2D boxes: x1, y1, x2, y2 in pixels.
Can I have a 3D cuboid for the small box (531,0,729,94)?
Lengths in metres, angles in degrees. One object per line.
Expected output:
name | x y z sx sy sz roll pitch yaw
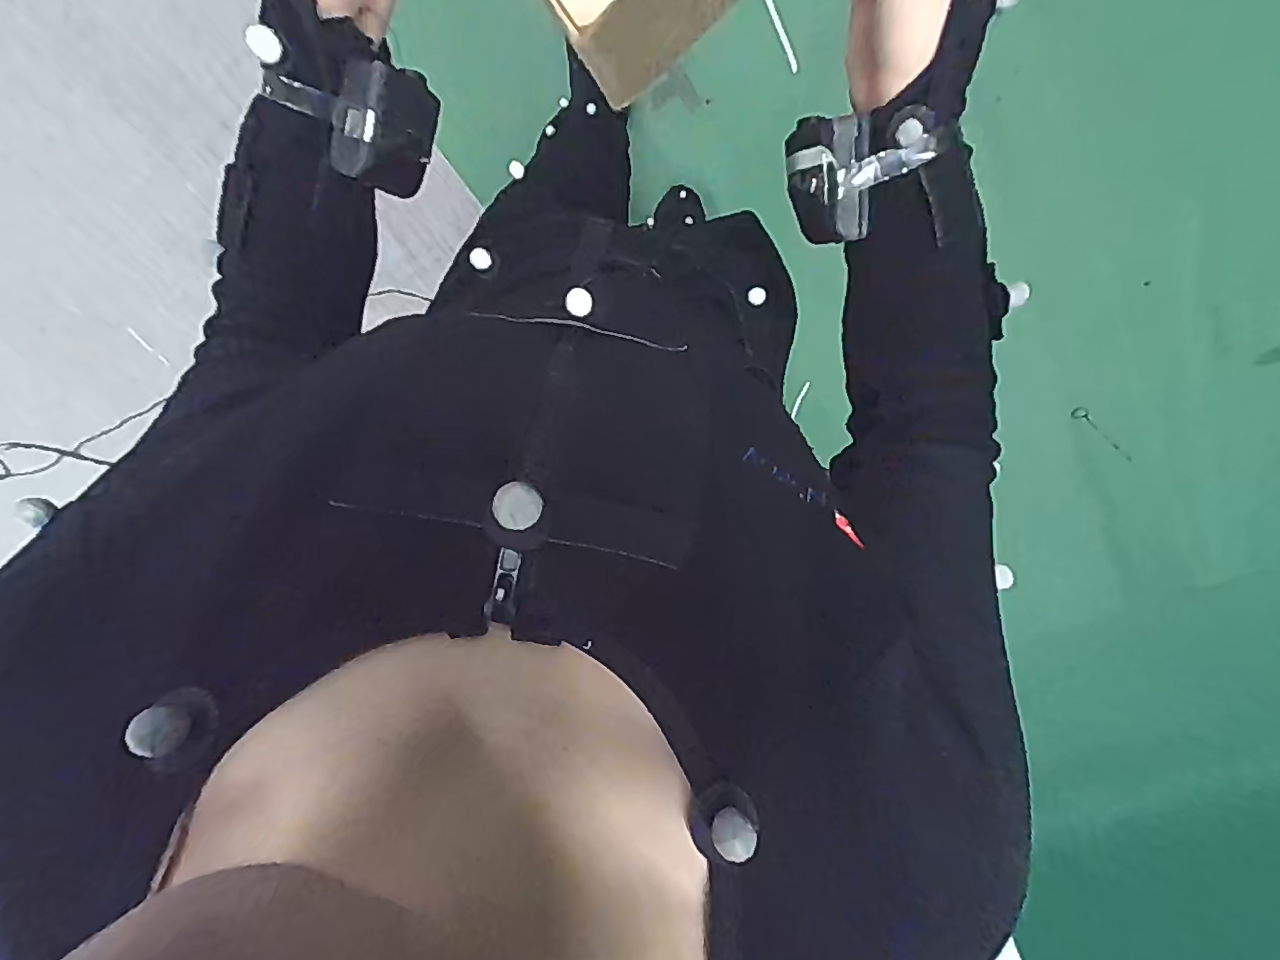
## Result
small box | -0.002 -0.304 0.221 0.179 0.176 0.168 -33 110 19
